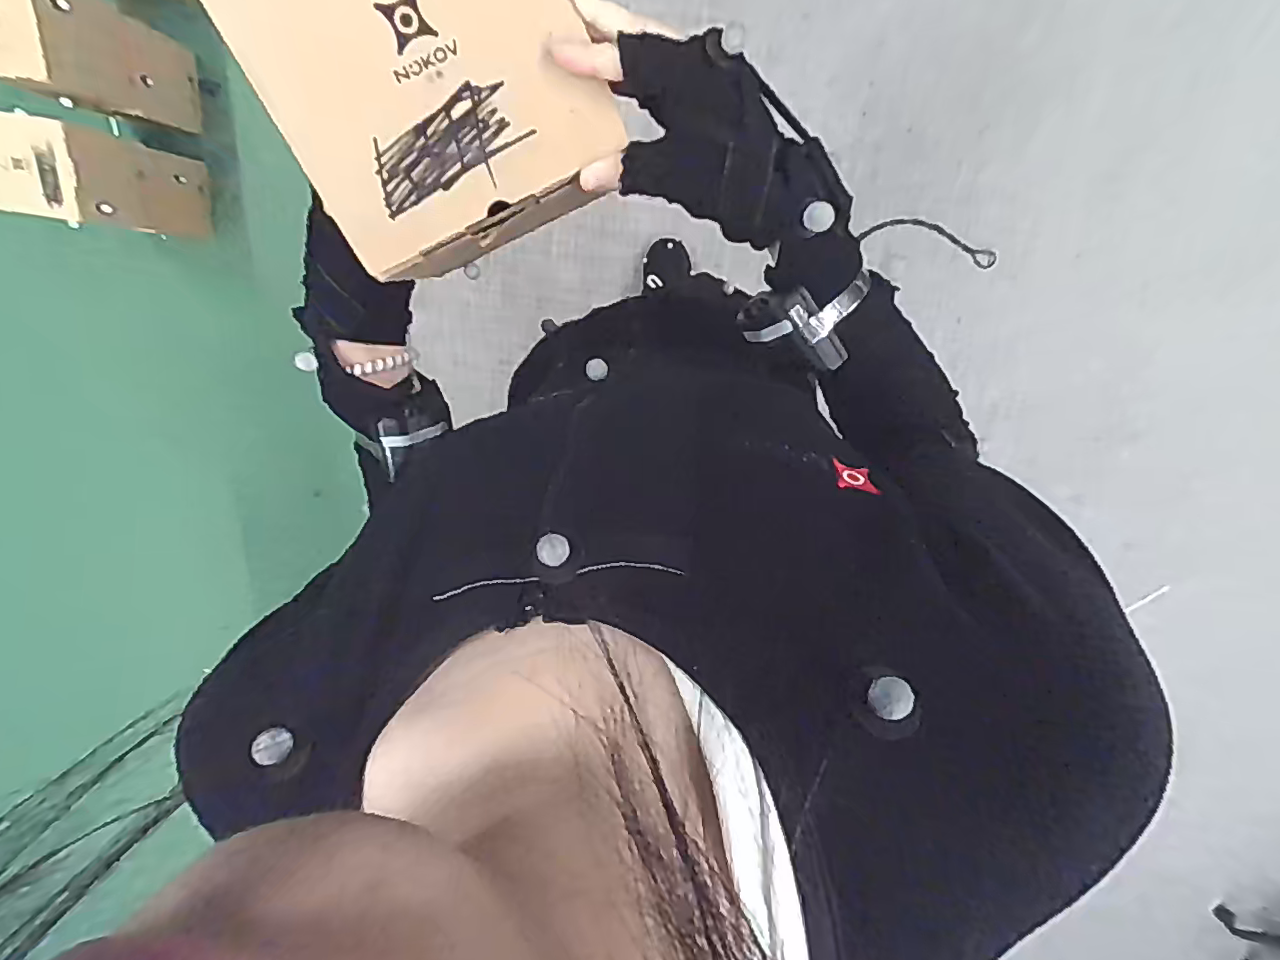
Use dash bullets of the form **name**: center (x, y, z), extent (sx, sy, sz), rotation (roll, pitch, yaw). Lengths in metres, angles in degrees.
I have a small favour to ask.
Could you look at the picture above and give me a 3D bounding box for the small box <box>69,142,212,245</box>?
- **small box**: center (-1.109, -0.635, 1.221), extent (0.179, 0.176, 0.168), rotation (10, 109, -3)
